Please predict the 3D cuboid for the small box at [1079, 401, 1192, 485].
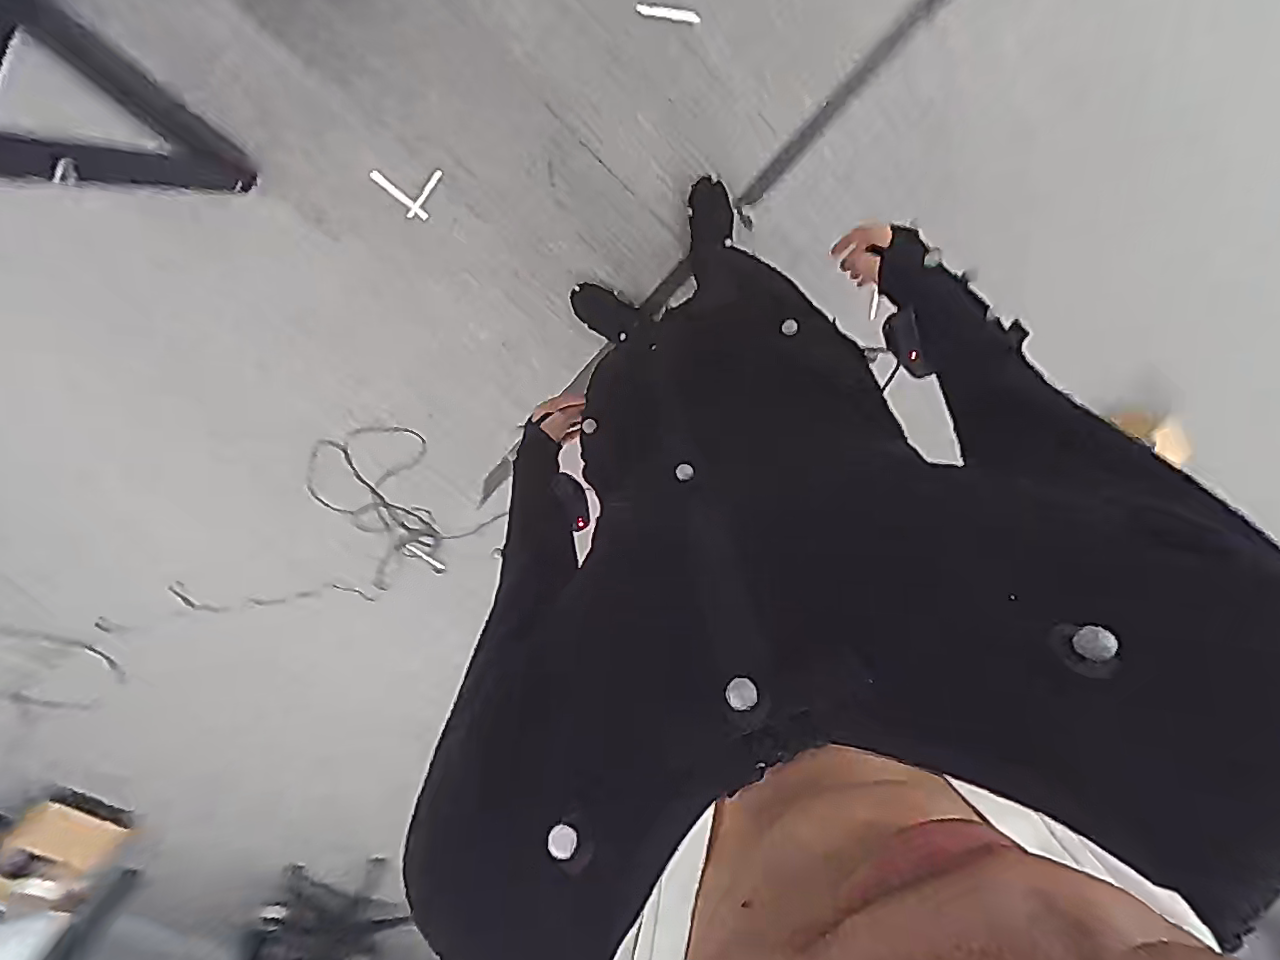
[{"bbox_3d":[1.545,-0.123,1.694,0.179,0.176,0.168,38,106,-20],"label":"small box"}]
